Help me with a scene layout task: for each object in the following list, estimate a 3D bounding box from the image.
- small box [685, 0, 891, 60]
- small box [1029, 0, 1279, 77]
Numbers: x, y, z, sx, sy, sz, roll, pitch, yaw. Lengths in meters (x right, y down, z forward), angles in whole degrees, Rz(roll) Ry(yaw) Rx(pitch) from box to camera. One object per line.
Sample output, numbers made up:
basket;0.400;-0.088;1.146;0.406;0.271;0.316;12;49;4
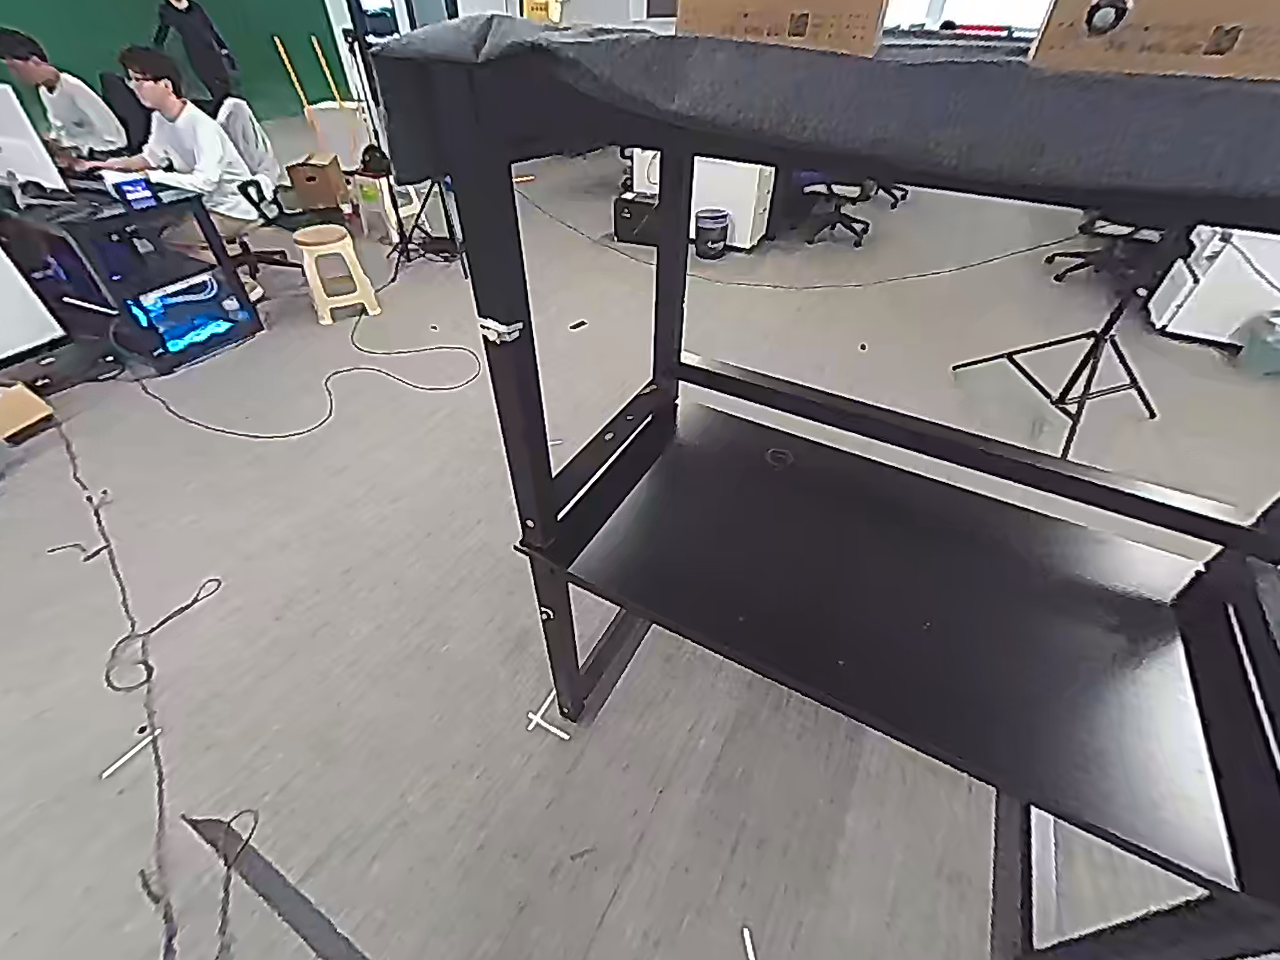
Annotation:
small box;0.140;-0.471;0.458;0.168;0.176;0.179;14;43;15
small box;0.400;-0.389;0.374;0.168;0.176;0.179;20;44;20
